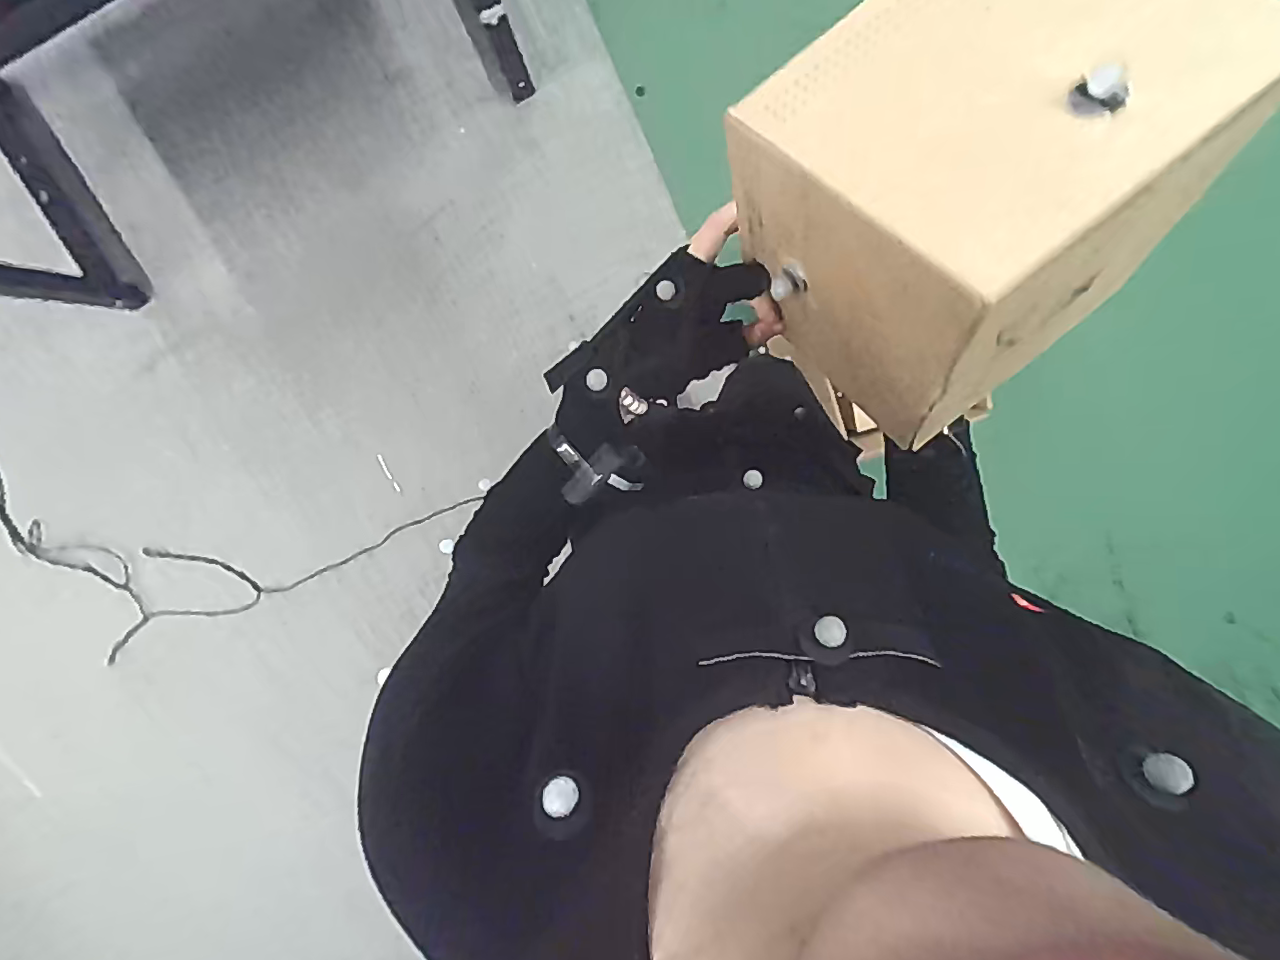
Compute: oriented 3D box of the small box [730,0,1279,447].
[{"bbox_3d":[0.177,-0.155,0.313,0.179,0.168,0.176,-39,68,2],"label":"small box"}]
